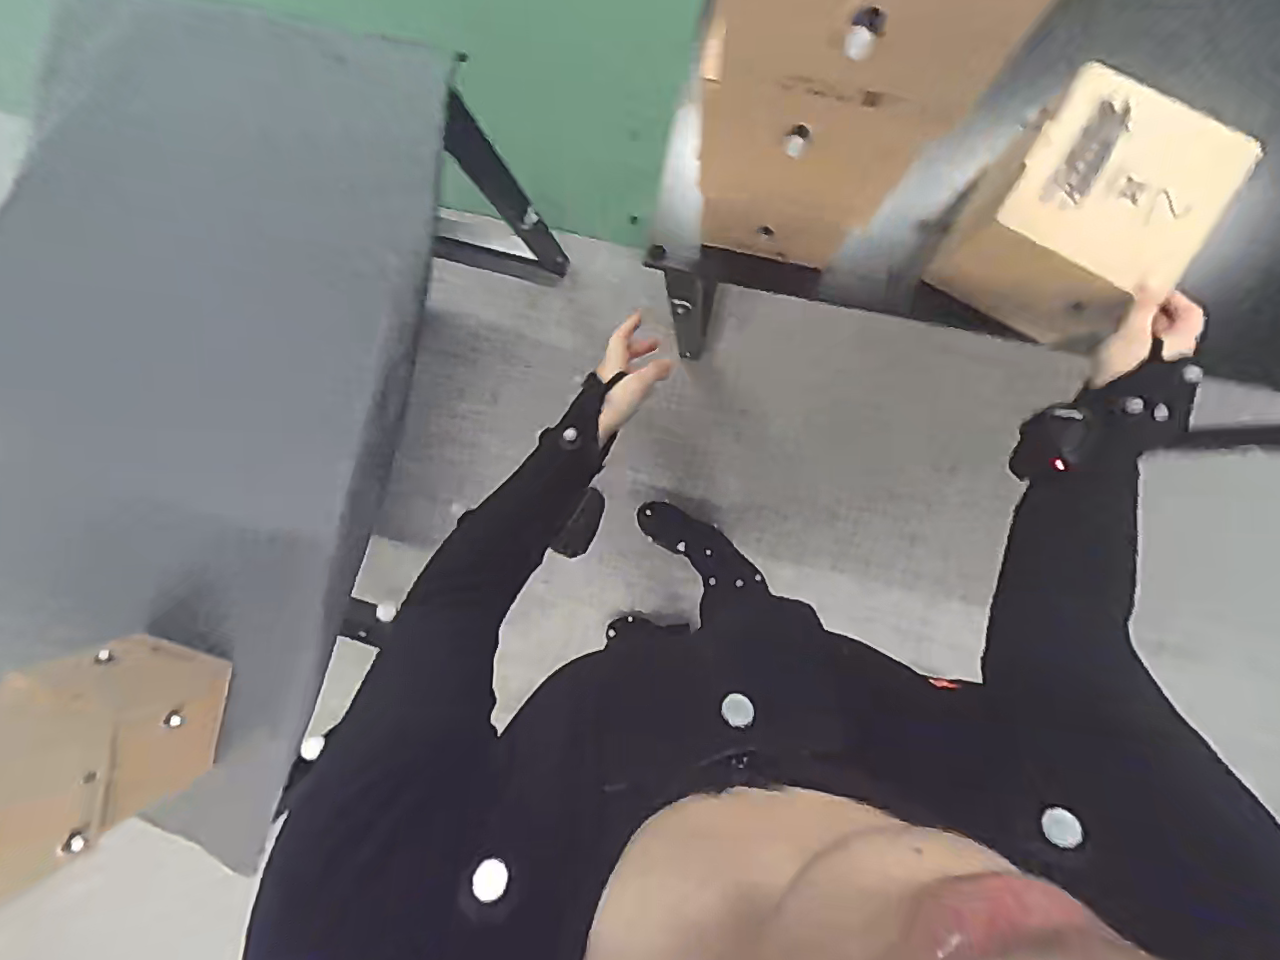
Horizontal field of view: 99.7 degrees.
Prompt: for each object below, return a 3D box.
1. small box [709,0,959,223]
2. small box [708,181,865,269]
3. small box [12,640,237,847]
[{"bbox_3d":[0.161,-0.338,0.450,0.179,0.176,0.168,14,94,6],"label":"small box"},{"bbox_3d":[0.178,-0.362,0.611,0.168,0.176,0.179,14,93,5],"label":"small box"},{"bbox_3d":[-0.703,0.343,0.744,0.168,0.176,0.179,14,94,9],"label":"small box"}]
